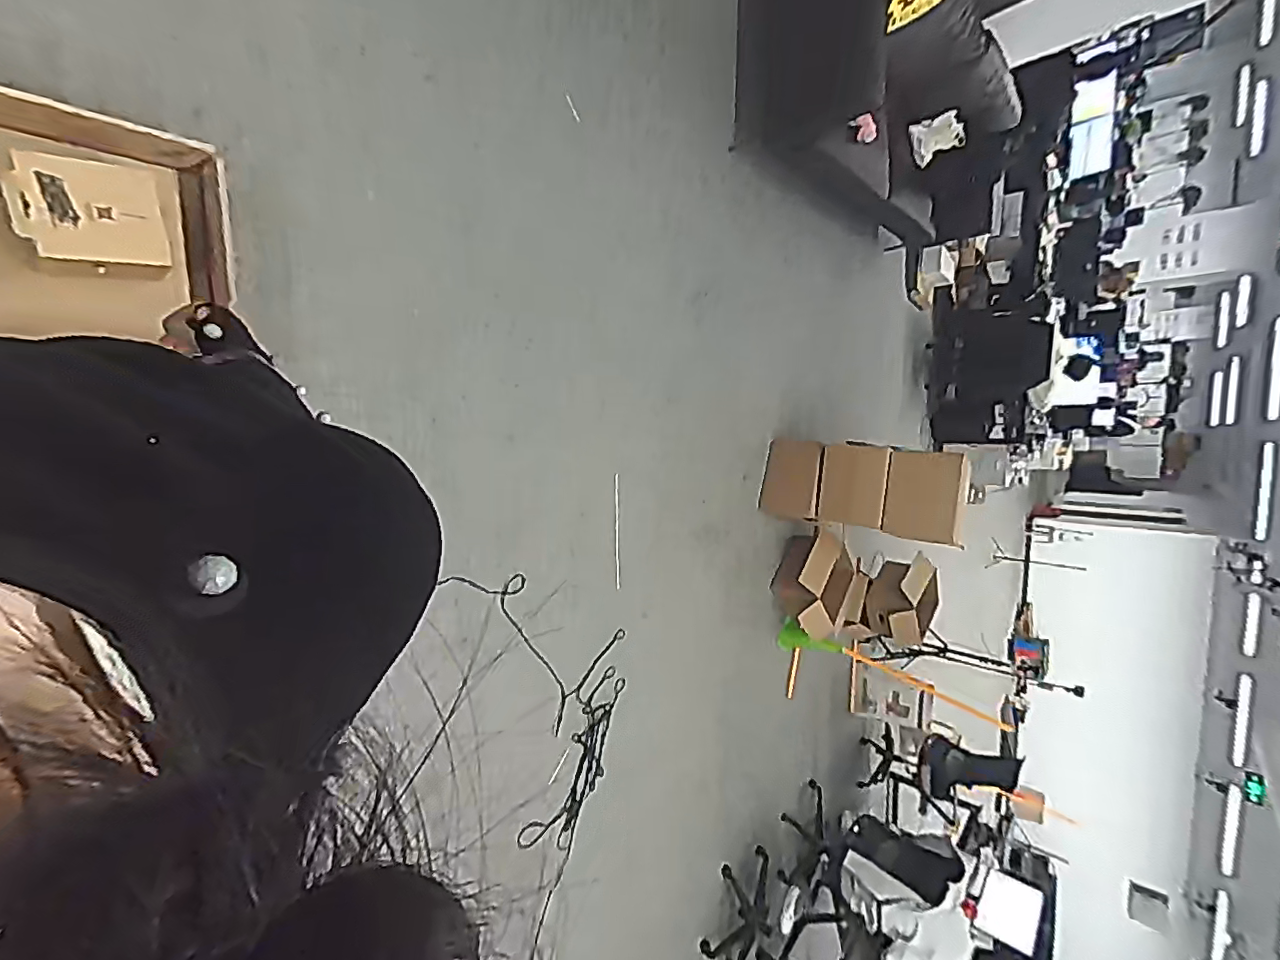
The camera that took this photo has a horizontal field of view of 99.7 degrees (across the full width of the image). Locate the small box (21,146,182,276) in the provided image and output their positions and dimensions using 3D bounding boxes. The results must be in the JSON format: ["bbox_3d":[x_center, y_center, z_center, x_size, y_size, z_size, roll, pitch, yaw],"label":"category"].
[{"bbox_3d":[-0.979,-0.478,0.993,0.179,0.176,0.168,-16,106,-44],"label":"small box"}]
